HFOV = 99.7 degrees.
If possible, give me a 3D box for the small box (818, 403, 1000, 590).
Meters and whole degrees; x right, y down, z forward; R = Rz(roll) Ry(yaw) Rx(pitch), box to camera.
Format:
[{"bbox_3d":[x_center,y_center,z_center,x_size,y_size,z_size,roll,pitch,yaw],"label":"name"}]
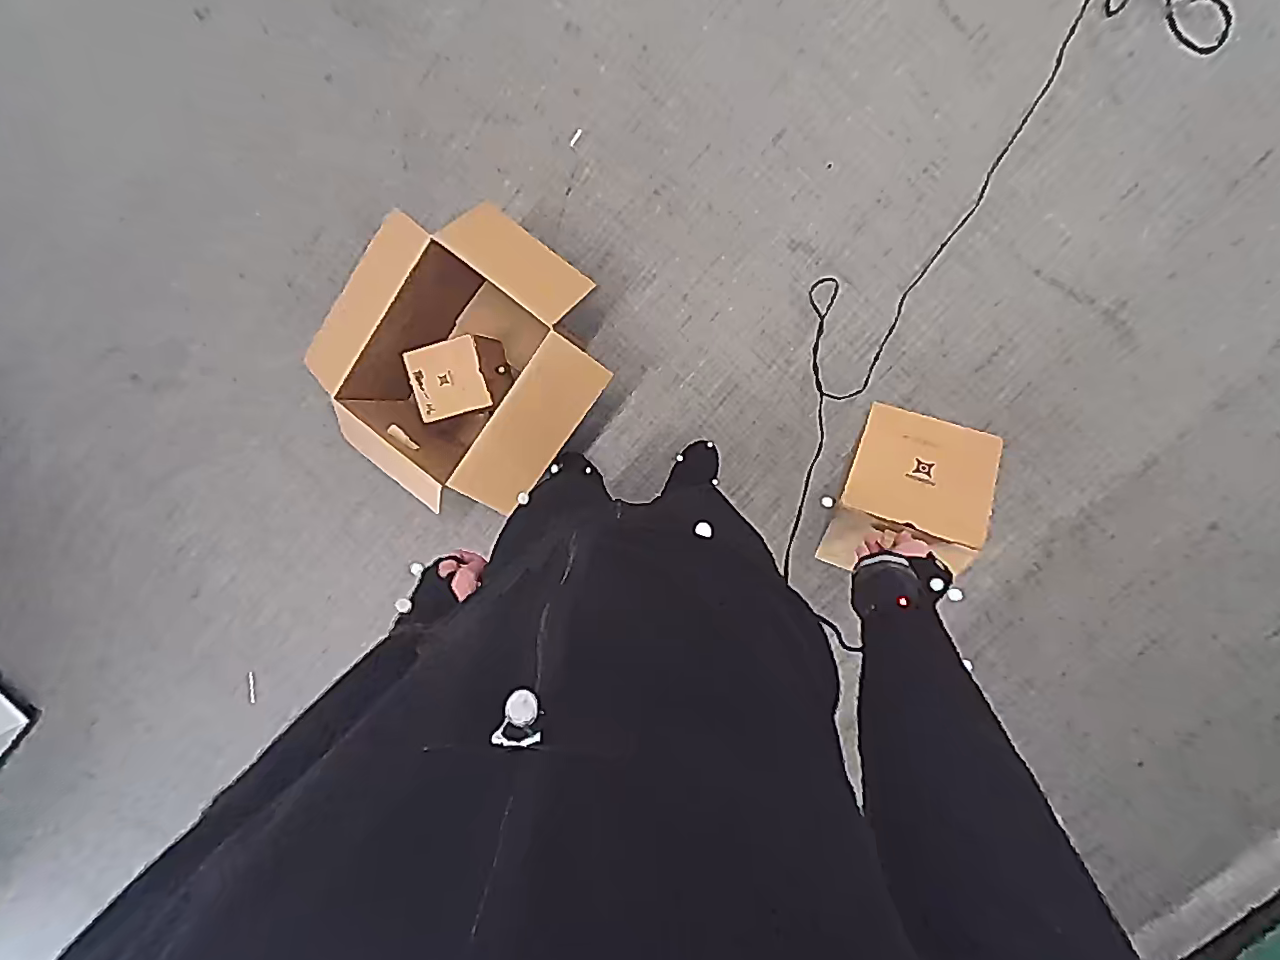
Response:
[{"bbox_3d":[0.360,0.029,0.749,0.168,0.176,0.179,20,63,15],"label":"small box"}]
